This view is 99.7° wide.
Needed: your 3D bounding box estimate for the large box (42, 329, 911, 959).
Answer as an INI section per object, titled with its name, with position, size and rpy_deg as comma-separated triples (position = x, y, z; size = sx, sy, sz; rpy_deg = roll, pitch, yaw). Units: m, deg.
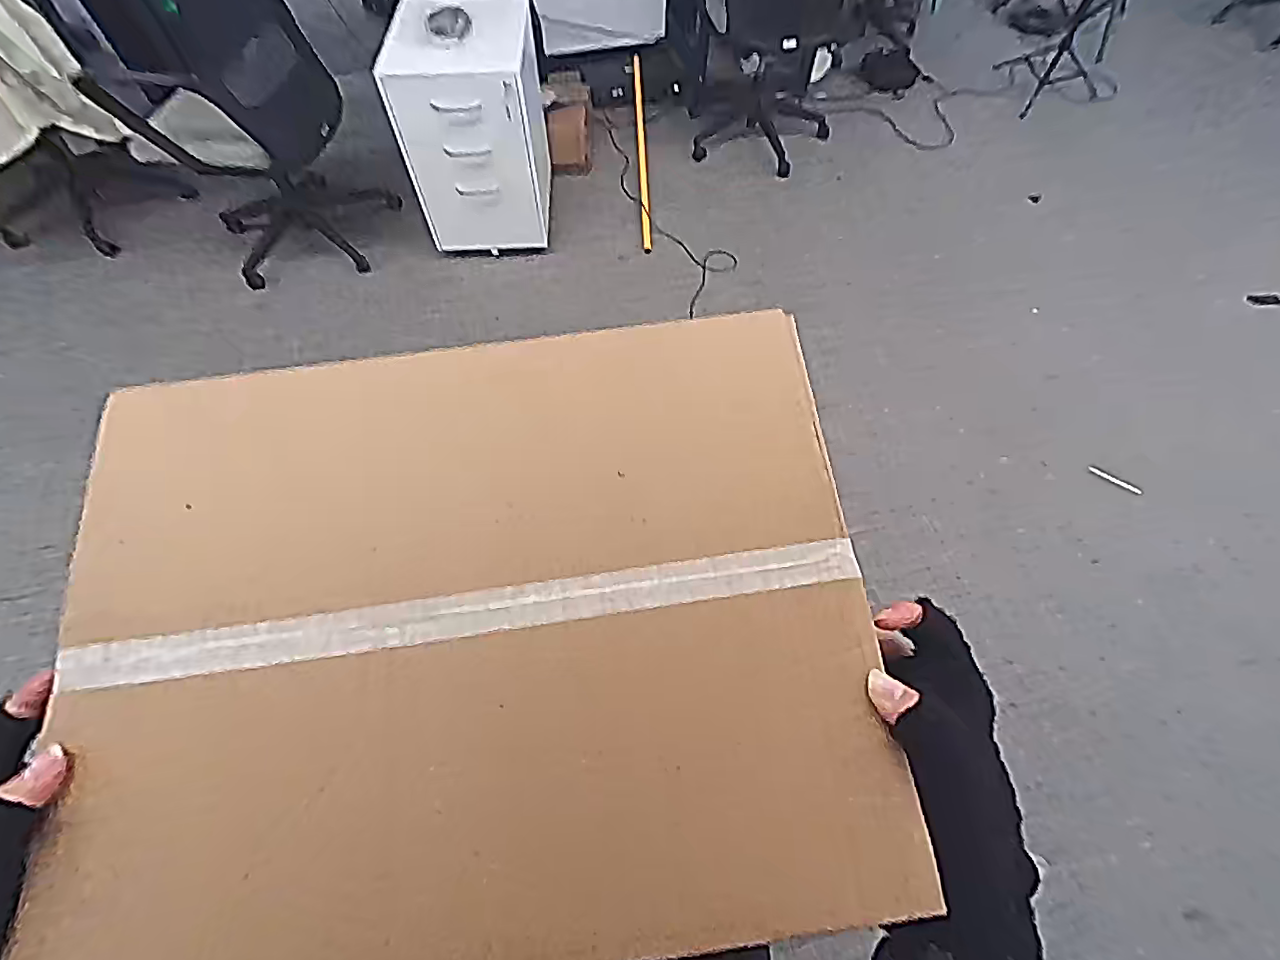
[large box]
position = -0.086, 0.119, 0.429
size = 0.408, 0.320, 0.320
rpy_deg = -7, 71, -2
